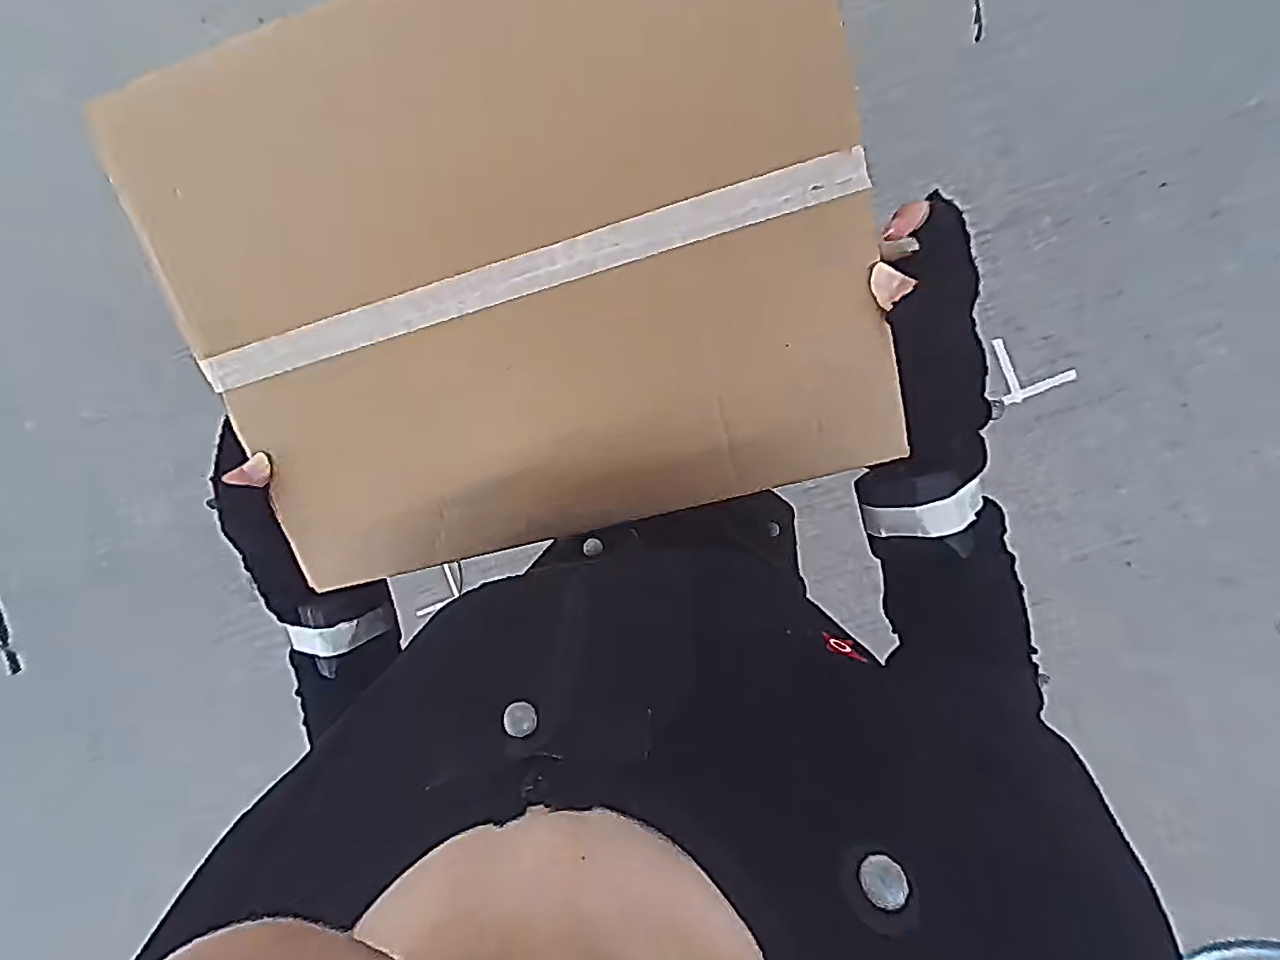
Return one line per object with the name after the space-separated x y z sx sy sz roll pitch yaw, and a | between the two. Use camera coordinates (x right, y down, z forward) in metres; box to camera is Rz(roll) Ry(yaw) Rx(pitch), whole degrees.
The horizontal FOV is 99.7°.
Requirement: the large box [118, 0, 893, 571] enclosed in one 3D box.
-0.065 -0.163 0.462 0.408 0.320 0.320 -14 106 9 | large box
